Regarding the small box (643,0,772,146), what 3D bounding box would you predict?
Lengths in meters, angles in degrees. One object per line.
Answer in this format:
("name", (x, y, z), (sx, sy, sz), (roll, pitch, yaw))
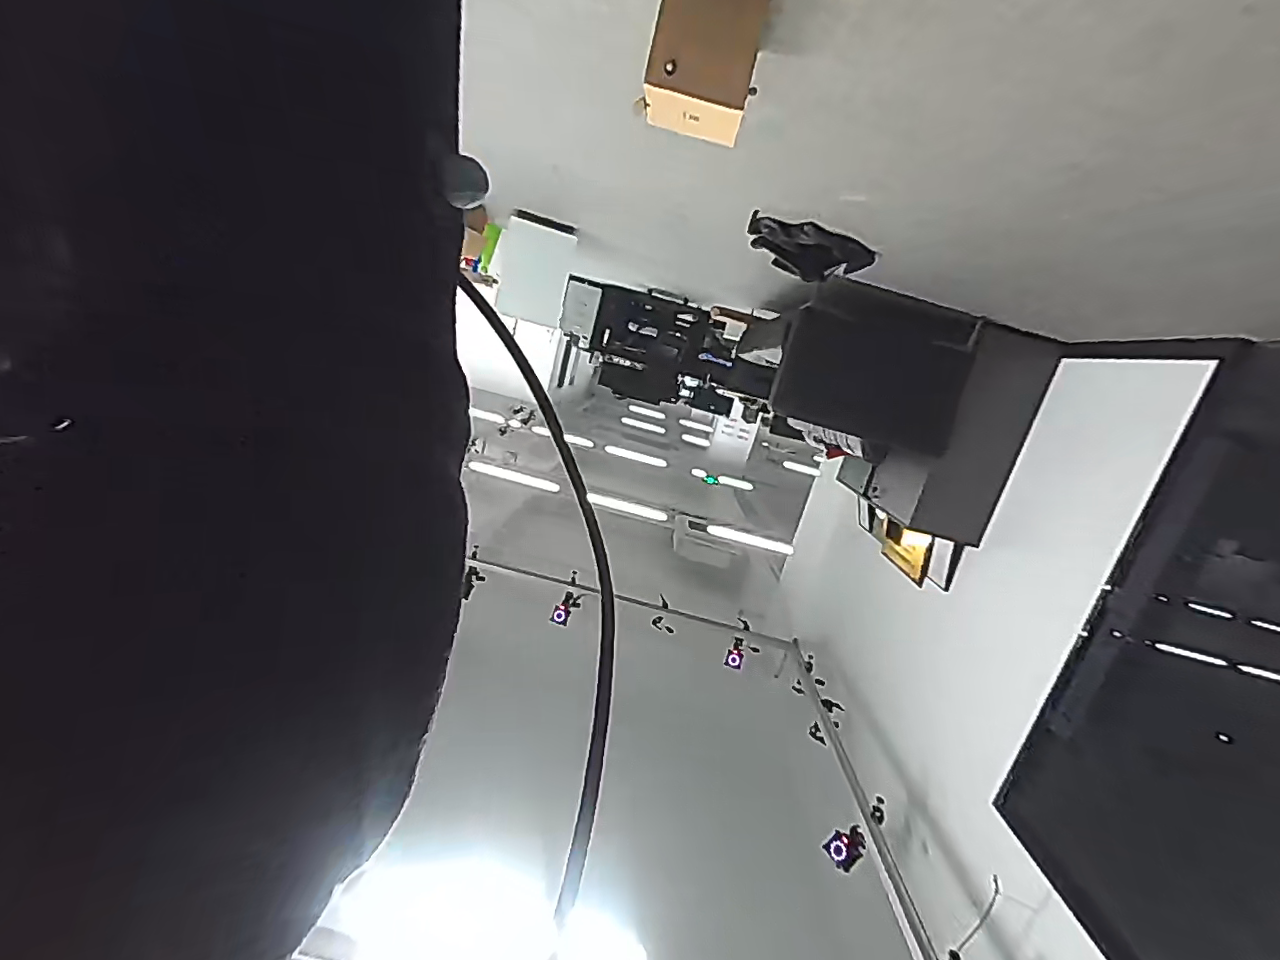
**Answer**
("small box", (0.113, -0.719, 0.937), (0.179, 0.176, 0.168), (16, -166, -1))
